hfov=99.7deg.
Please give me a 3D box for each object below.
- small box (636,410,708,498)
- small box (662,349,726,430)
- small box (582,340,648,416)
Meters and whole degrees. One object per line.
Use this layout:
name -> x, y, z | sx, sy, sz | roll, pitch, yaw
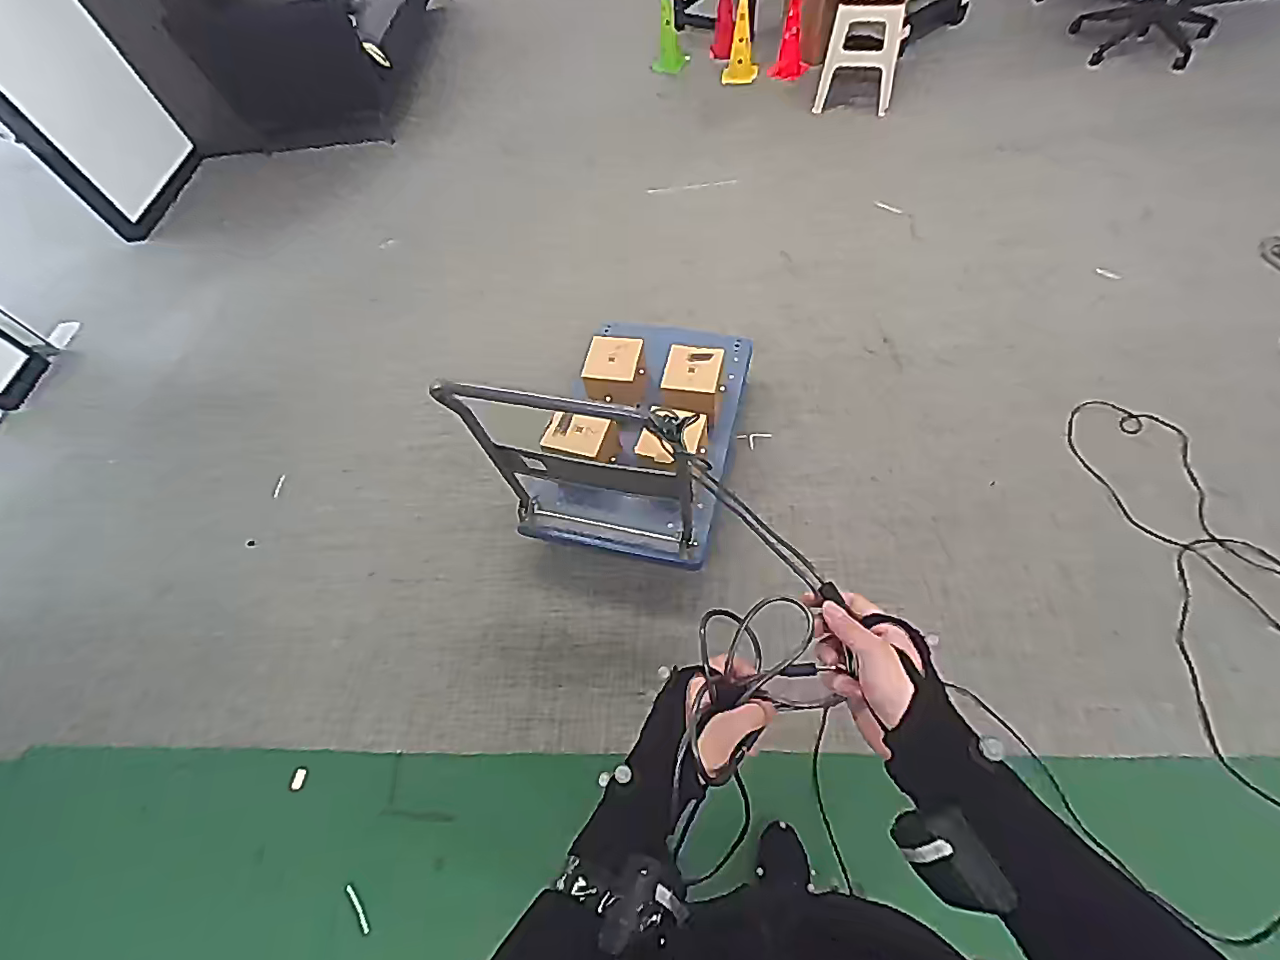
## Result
small box -> 0.099, -0.074, 1.579 | 0.168, 0.176, 0.179 | 12, 62, 15
small box -> 0.172, -0.283, 1.691 | 0.168, 0.176, 0.179 | 8, 62, 14
small box -> -0.073, -0.326, 1.752 | 0.168, 0.176, 0.179 | 7, 61, 12
